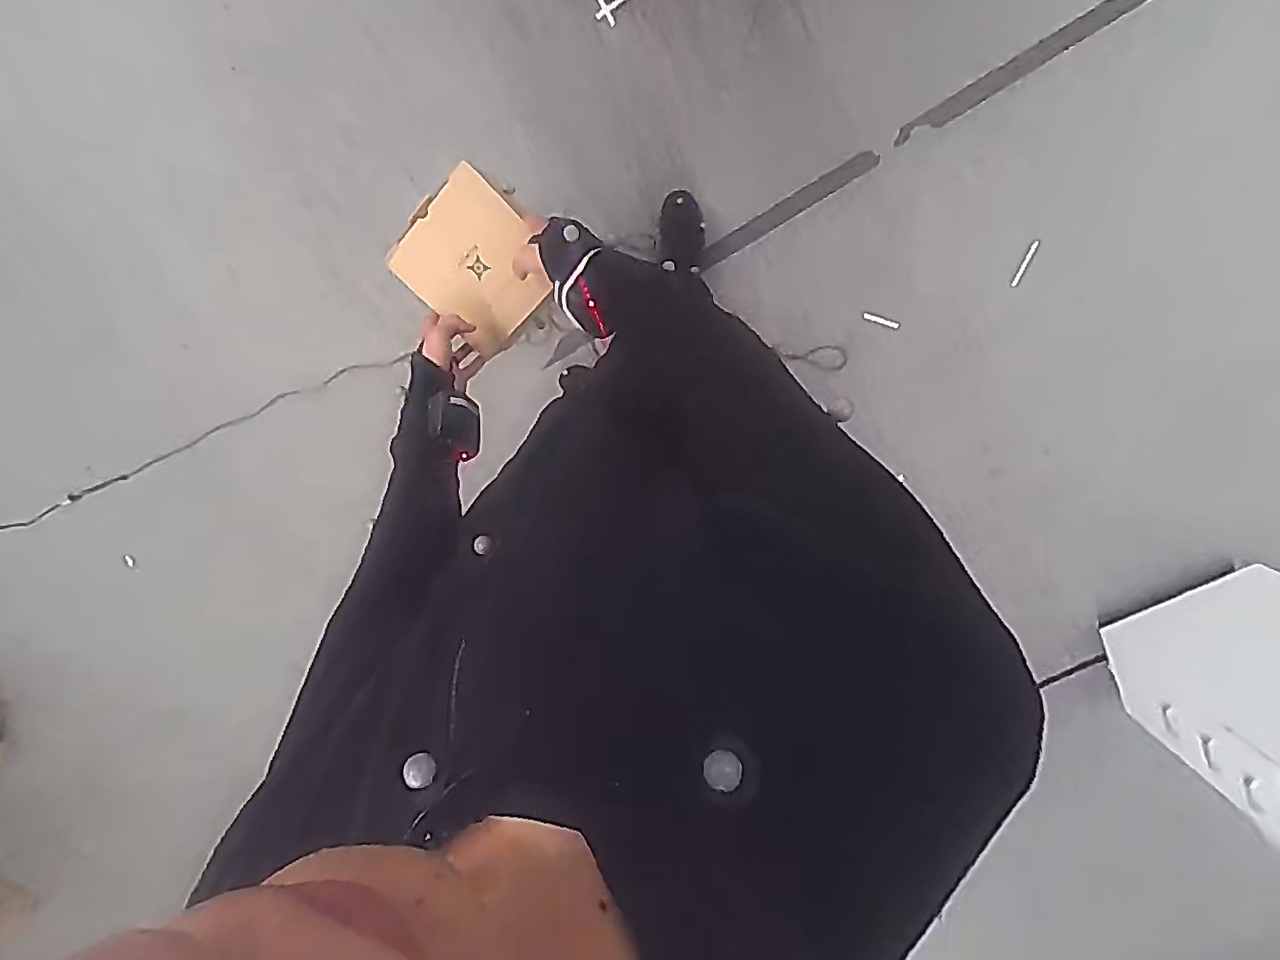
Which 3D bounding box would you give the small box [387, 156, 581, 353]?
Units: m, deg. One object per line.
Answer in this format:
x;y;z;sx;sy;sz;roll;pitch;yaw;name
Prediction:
-0.203;-0.303;0.754;0.168;0.176;0.179;-41;106;14;small box
